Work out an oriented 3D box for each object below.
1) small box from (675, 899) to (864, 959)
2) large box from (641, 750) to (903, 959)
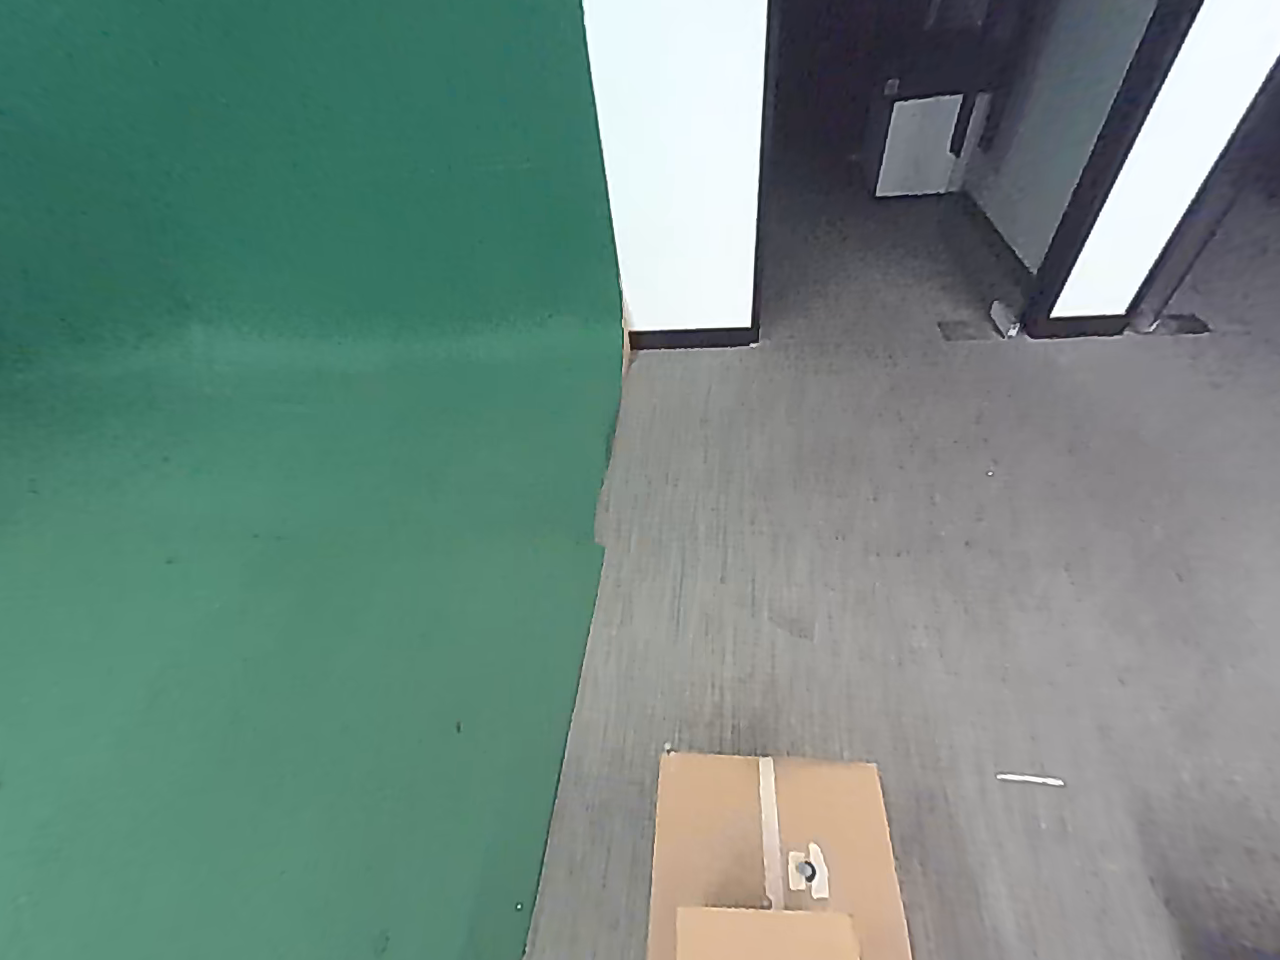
[{"bbox_3d":[0.128,0.533,0.532,0.179,0.176,0.168,-4,45,9],"label":"small box"},{"bbox_3d":[0.176,0.654,0.769,0.320,0.320,0.408,0,46,9],"label":"large box"}]
